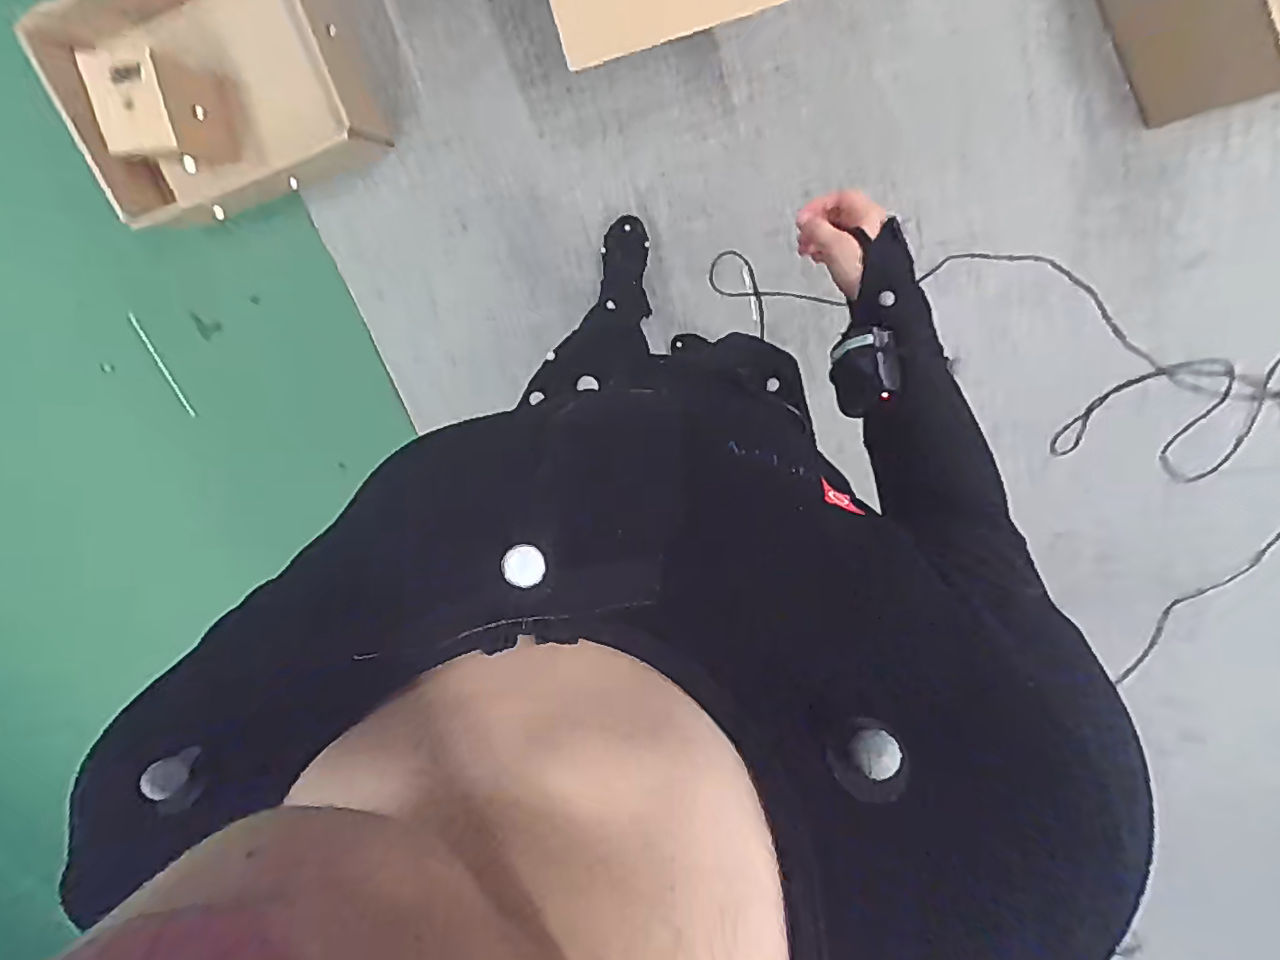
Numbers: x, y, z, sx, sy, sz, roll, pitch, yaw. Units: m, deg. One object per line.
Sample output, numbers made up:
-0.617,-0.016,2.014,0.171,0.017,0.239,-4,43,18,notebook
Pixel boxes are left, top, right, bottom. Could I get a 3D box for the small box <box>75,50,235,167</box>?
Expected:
-1.040,-0.797,1.178,0.168,0.176,0.179,0,112,5,small box
